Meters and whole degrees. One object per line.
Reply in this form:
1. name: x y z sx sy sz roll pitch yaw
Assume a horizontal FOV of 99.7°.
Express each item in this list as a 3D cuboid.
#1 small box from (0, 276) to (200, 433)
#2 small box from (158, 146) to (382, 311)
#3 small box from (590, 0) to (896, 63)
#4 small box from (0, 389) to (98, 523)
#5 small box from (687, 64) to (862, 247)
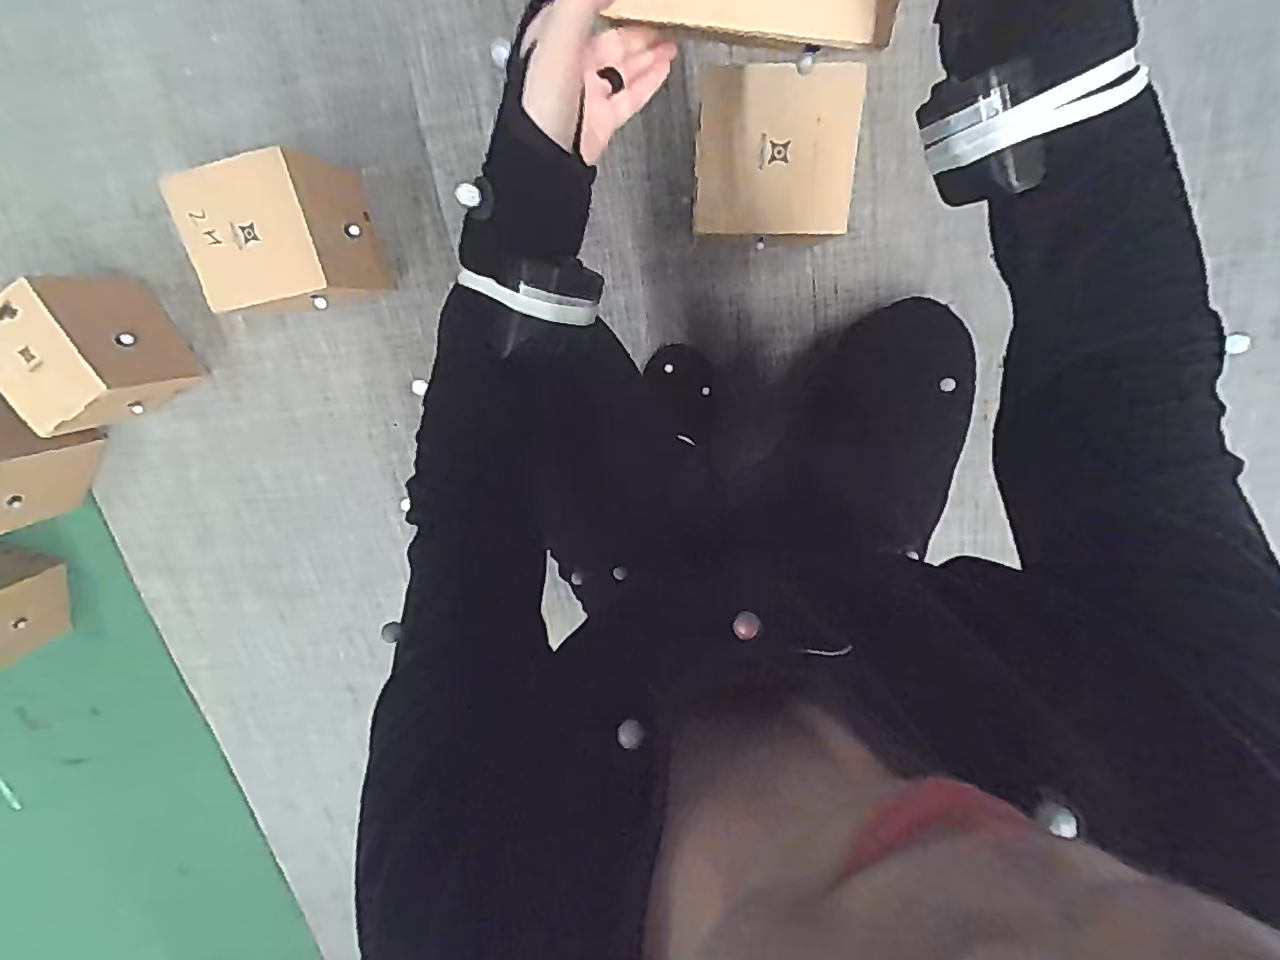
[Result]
1. small box: -0.854 -0.200 0.842 0.168 0.176 0.179 -24 105 14
2. small box: -0.490 -0.337 0.754 0.179 0.176 0.168 -8 107 9
3. small box: 0.066 -0.371 0.335 0.179 0.176 0.168 4 127 -3
4. small box: -1.095 -0.042 0.922 0.168 0.176 0.179 37 108 -6
5. small box: 0.151 -0.385 0.670 0.179 0.176 0.168 3 109 4
